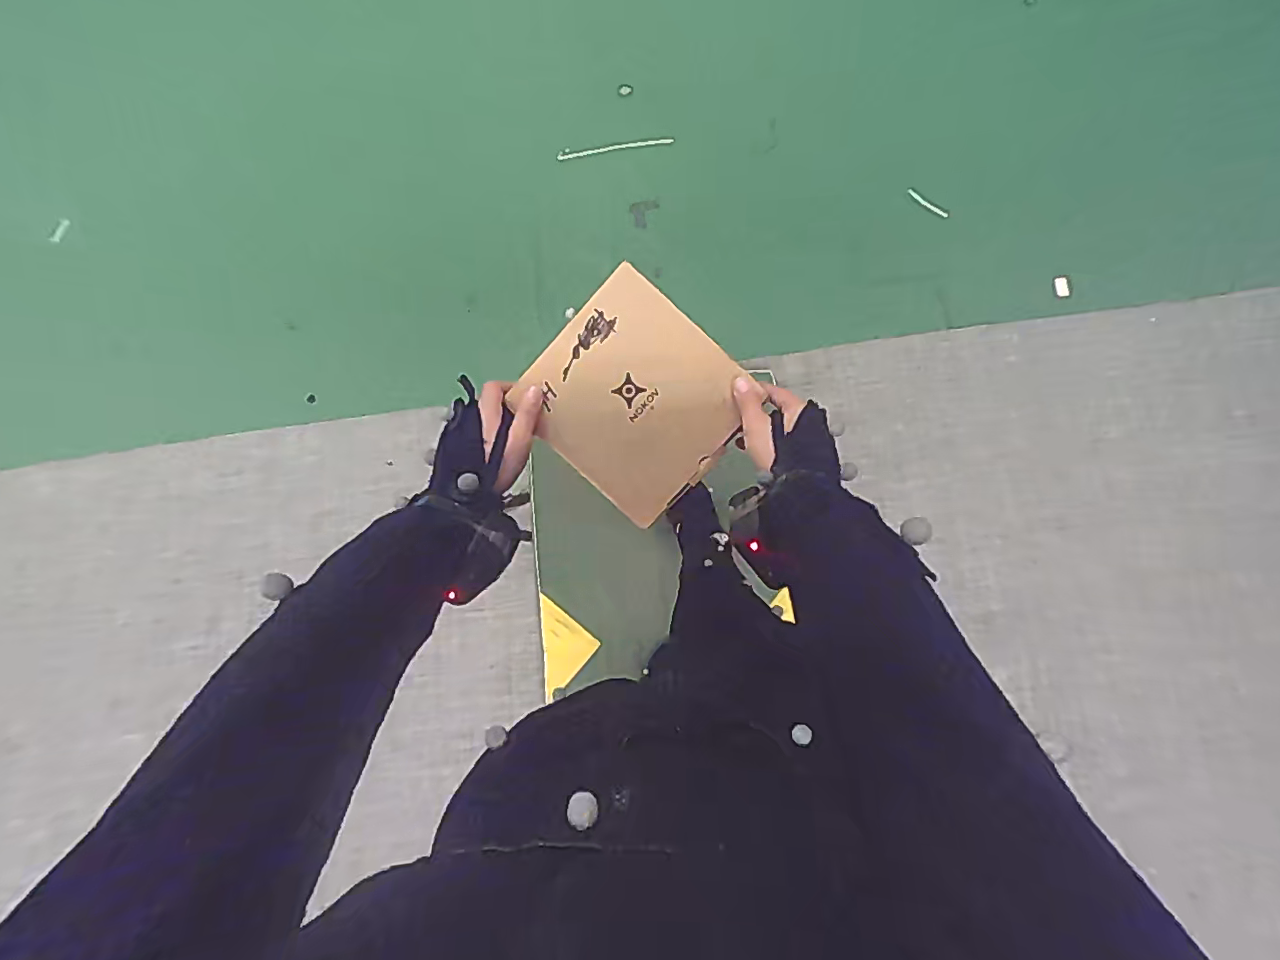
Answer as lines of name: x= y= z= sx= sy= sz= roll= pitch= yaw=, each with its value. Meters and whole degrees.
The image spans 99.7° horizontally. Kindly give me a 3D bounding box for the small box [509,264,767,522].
small box: x=0.000 y=-0.083 z=0.564 sx=0.179 sy=0.176 sz=0.168 roll=42 pitch=93 yaw=-2
